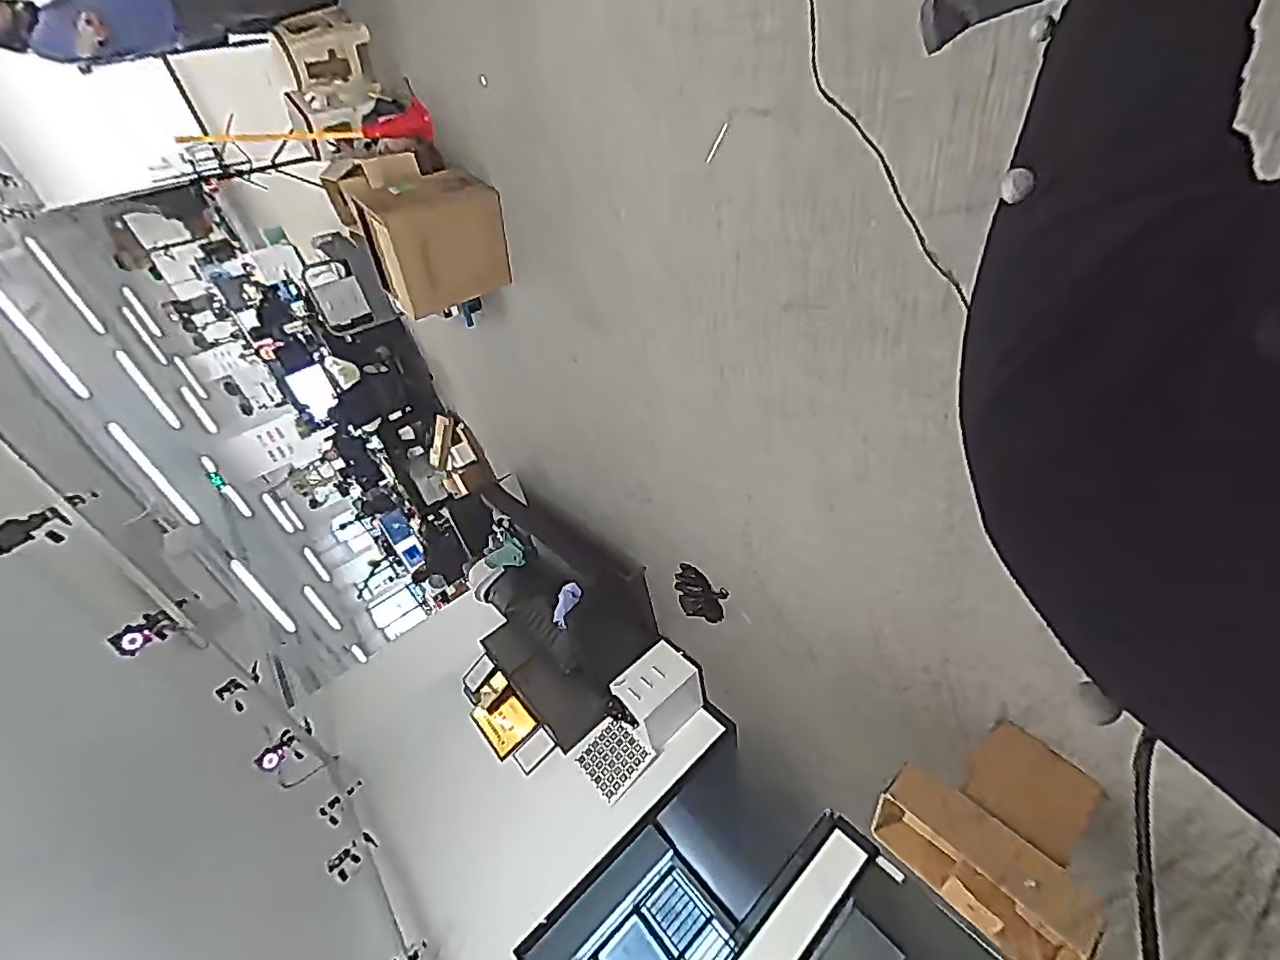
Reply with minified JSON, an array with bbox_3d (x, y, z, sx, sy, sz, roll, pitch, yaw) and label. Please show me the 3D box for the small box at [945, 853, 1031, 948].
[{"bbox_3d":[1.146,1.376,1.779,0.168,0.176,0.179,36,149,41],"label":"small box"}]
